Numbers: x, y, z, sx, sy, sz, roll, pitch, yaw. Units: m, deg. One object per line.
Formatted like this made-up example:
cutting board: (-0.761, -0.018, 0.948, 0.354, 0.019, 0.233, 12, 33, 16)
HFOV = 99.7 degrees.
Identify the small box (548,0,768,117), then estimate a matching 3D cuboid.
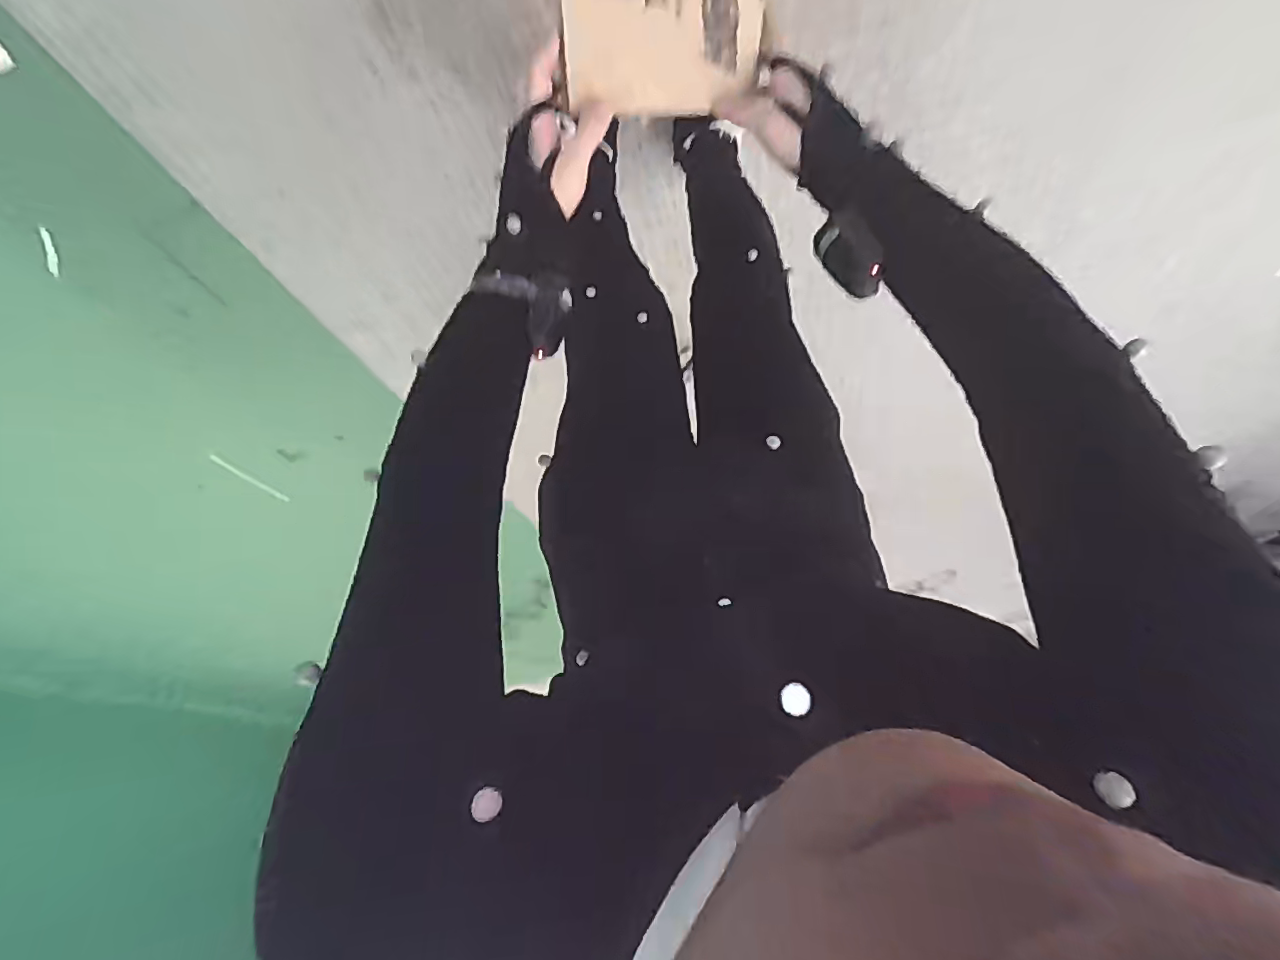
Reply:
small box: (0.008, -0.441, 0.497, 0.179, 0.176, 0.168, -7, 128, -8)
